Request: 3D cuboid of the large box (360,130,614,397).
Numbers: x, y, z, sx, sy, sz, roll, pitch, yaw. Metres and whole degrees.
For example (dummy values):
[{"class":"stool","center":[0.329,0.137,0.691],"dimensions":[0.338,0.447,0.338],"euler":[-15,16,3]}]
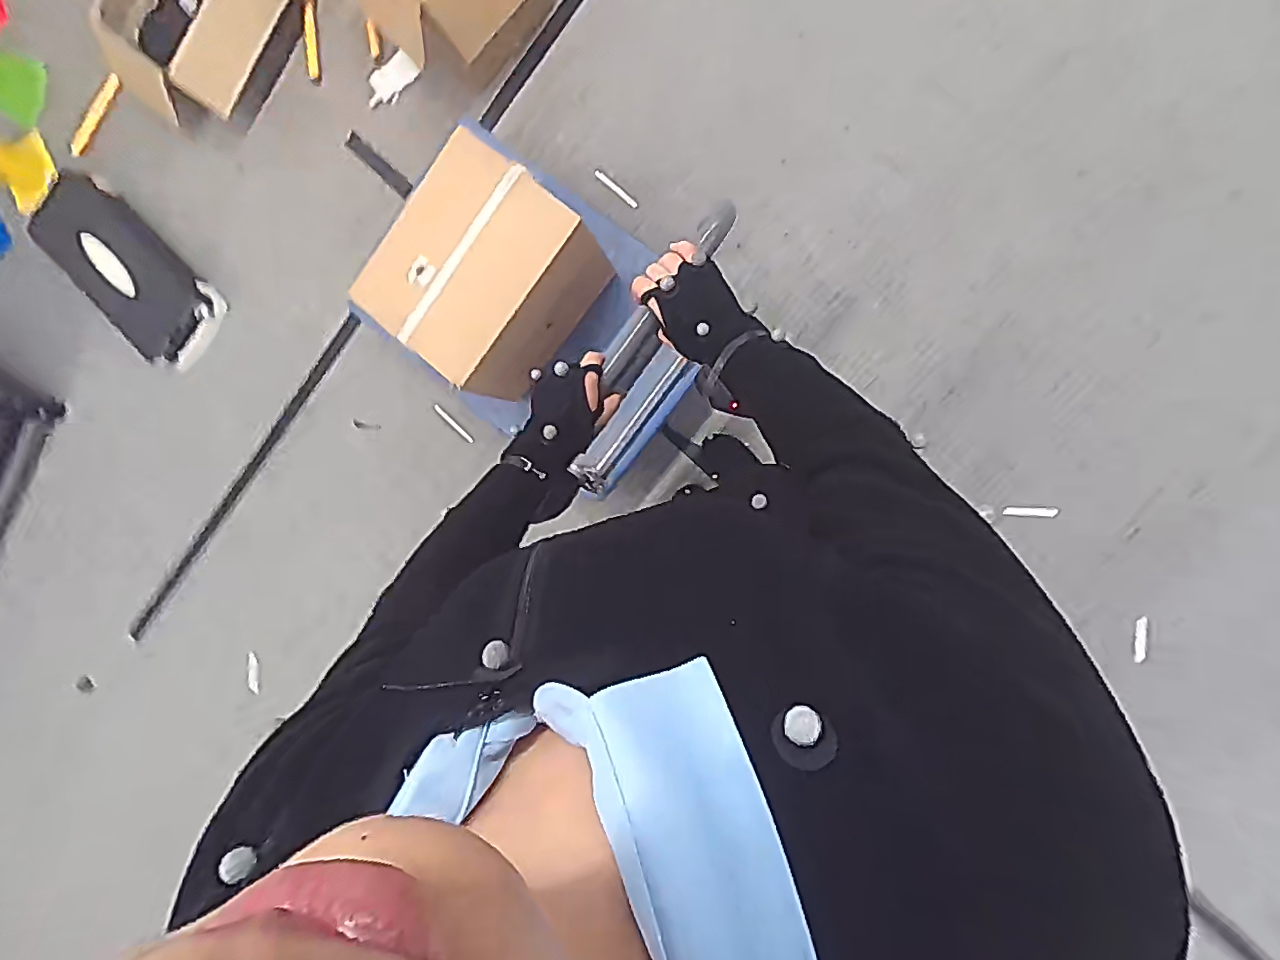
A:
[{"class":"large box","center":[-0.316,-0.445,1.210],"dimensions":[0.320,0.320,0.408],"euler":[39,99,6]}]
